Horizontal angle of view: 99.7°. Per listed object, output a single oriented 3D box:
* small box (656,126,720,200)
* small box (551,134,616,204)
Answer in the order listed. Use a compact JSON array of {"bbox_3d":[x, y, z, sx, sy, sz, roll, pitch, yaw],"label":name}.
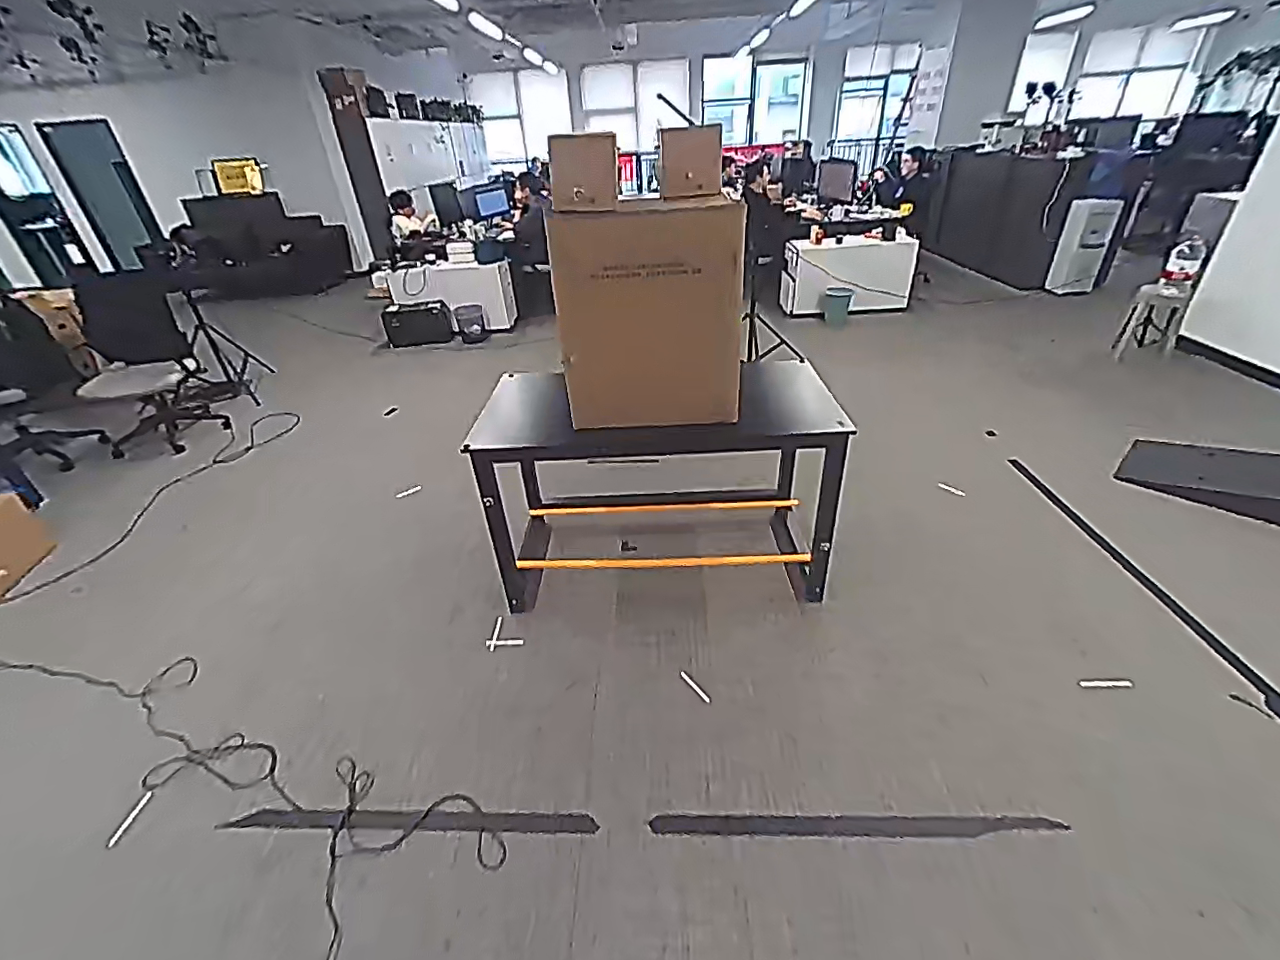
[{"bbox_3d":[0.133,-0.897,1.535,0.168,0.176,0.179,-5,32,1],"label":"small box"},{"bbox_3d":[-0.159,-0.901,1.573,0.168,0.176,0.179,-3,31,0],"label":"small box"}]
